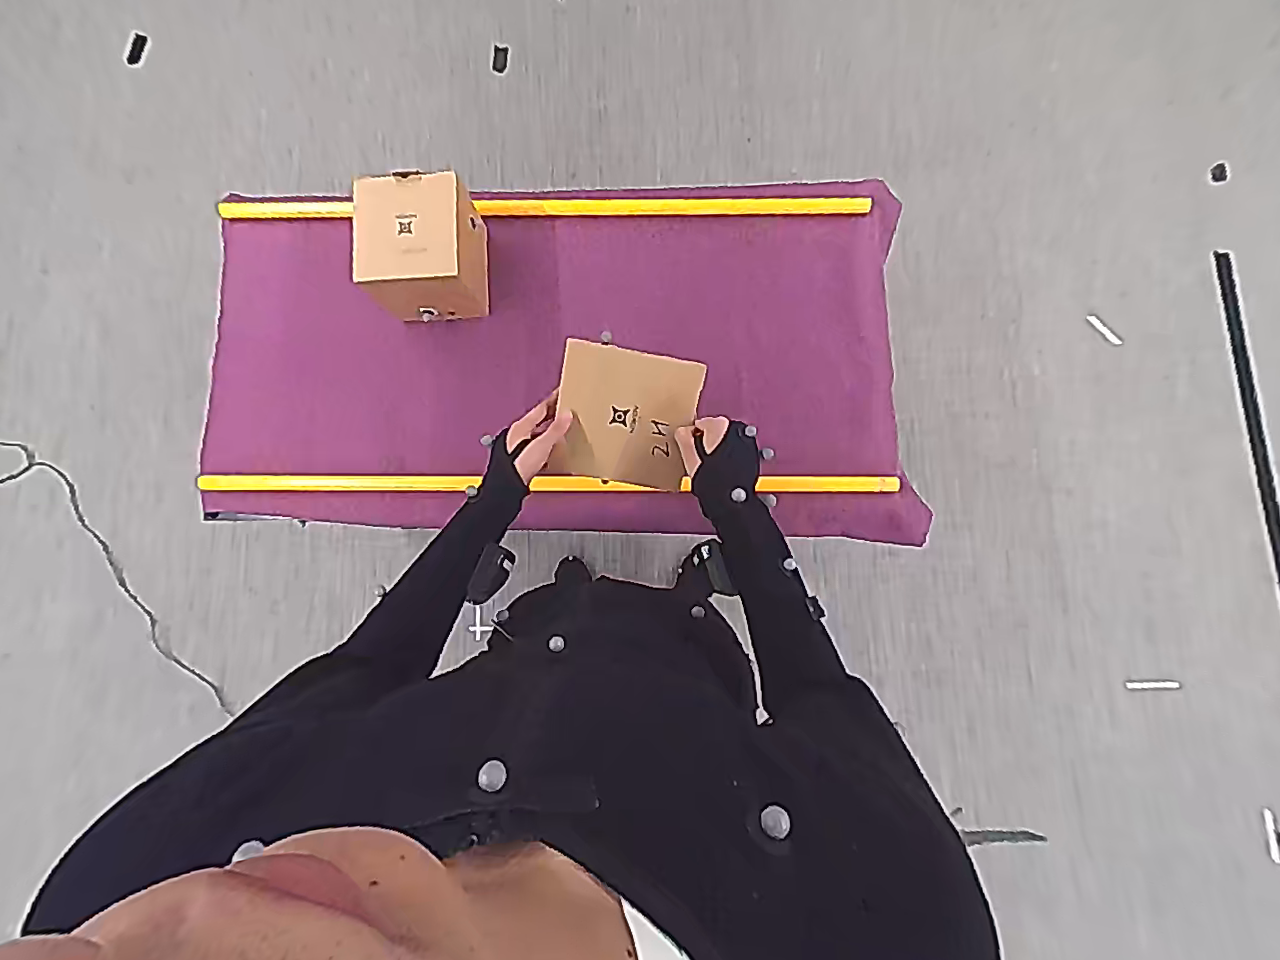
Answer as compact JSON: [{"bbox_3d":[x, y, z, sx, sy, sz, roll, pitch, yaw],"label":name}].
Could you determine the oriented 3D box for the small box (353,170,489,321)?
[{"bbox_3d":[-0.361,-0.389,0.917,0.168,0.176,0.179,-3,84,1],"label":"small box"}]

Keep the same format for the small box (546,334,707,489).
[{"bbox_3d":[-0.021,-0.099,0.746,0.179,0.176,0.168,10,103,-5],"label":"small box"}]
